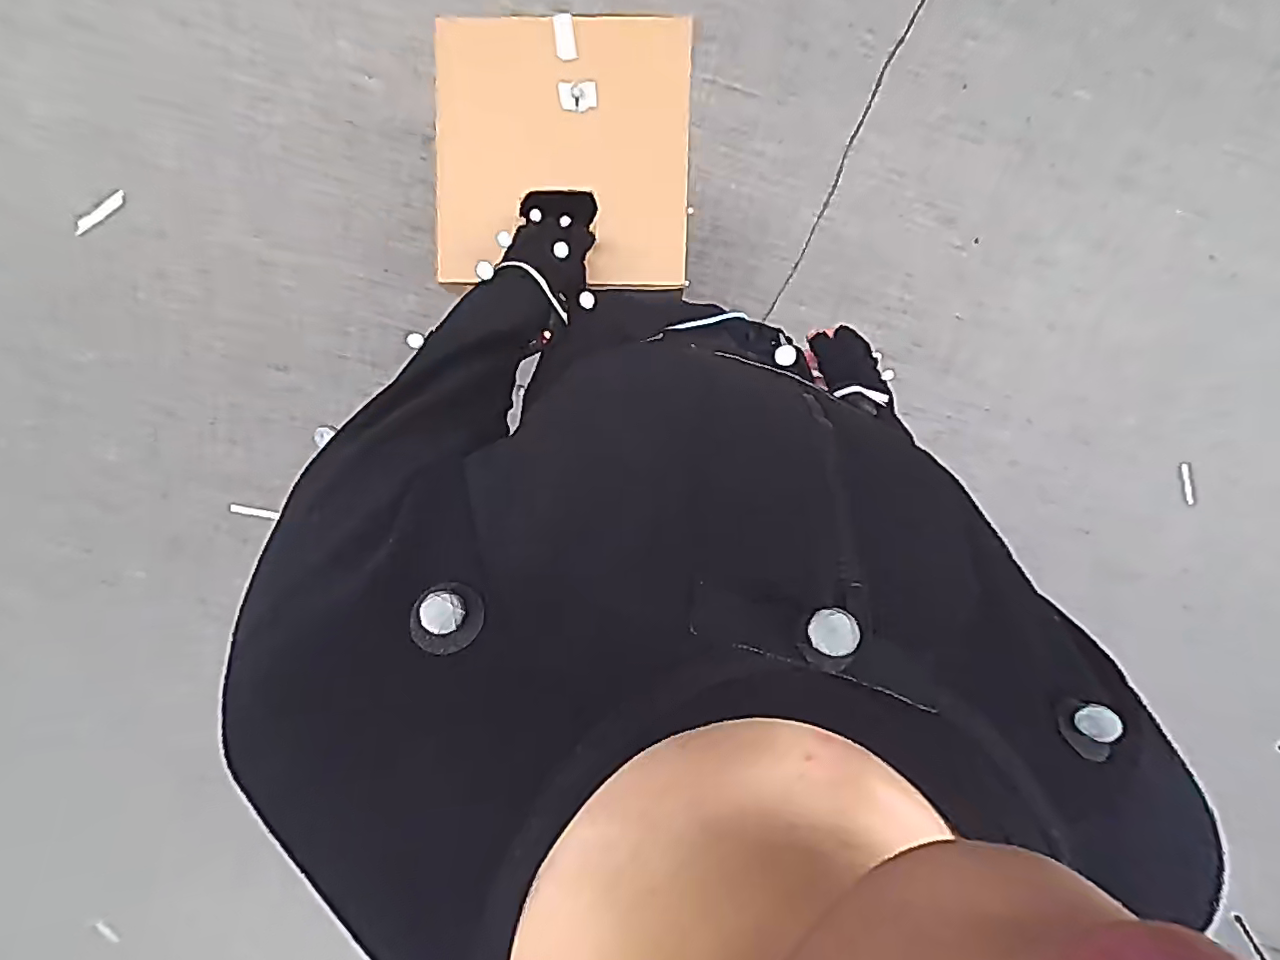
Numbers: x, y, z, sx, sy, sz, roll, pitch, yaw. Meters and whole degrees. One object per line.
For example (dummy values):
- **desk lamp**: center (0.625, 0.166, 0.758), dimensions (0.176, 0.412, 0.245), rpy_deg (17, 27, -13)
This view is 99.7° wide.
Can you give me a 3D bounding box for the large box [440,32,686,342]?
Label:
- **large box**: center (-0.086, -0.409, 0.860), dimensions (0.320, 0.408, 0.320), rpy_deg (2, 96, 2)
